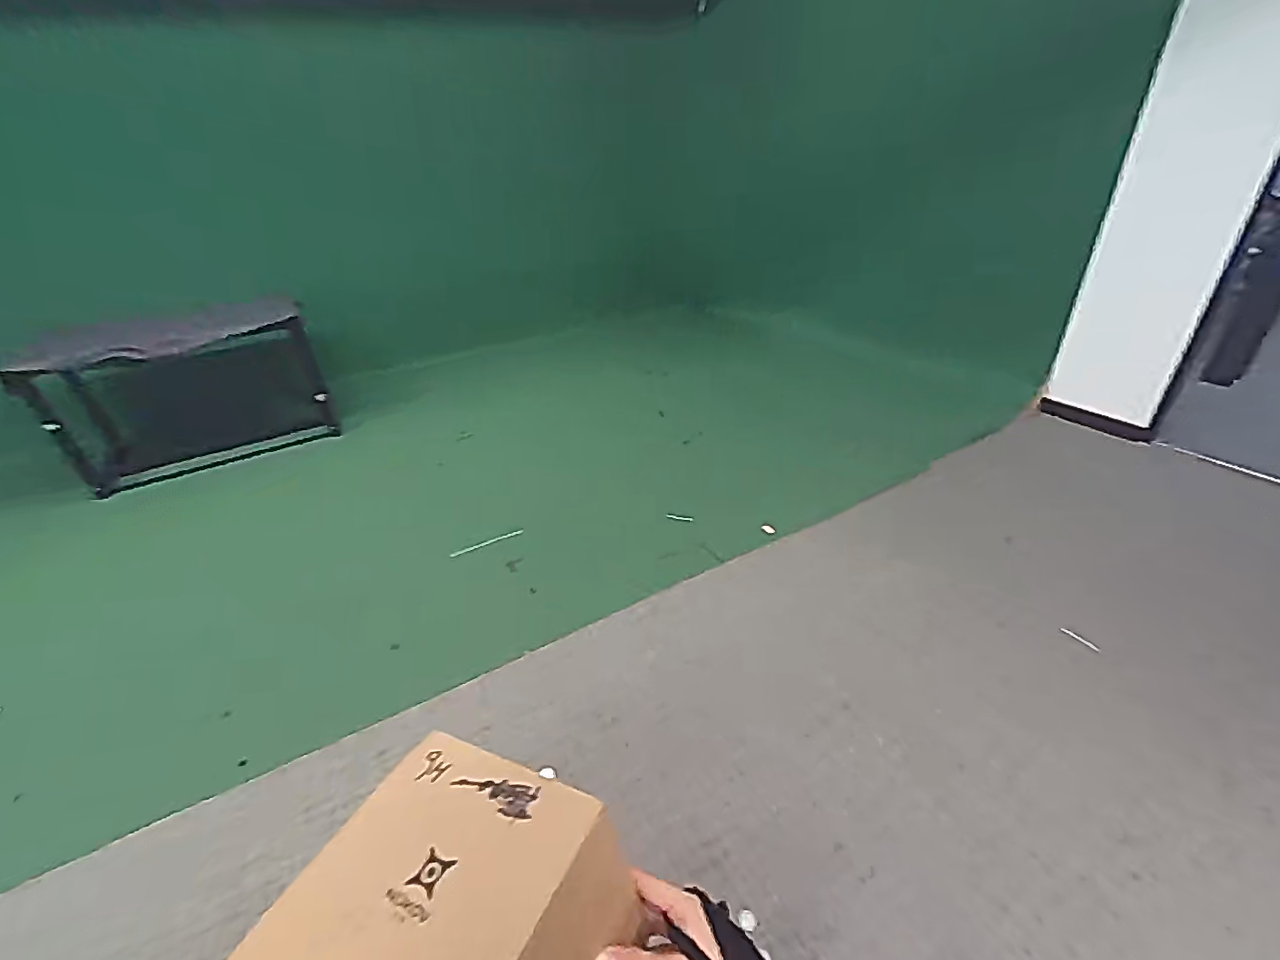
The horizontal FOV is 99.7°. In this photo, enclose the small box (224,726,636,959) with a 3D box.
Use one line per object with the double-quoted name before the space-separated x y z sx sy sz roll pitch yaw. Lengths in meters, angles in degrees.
"small box" -0.119 0.314 0.367 0.168 0.176 0.179 5 32 30
